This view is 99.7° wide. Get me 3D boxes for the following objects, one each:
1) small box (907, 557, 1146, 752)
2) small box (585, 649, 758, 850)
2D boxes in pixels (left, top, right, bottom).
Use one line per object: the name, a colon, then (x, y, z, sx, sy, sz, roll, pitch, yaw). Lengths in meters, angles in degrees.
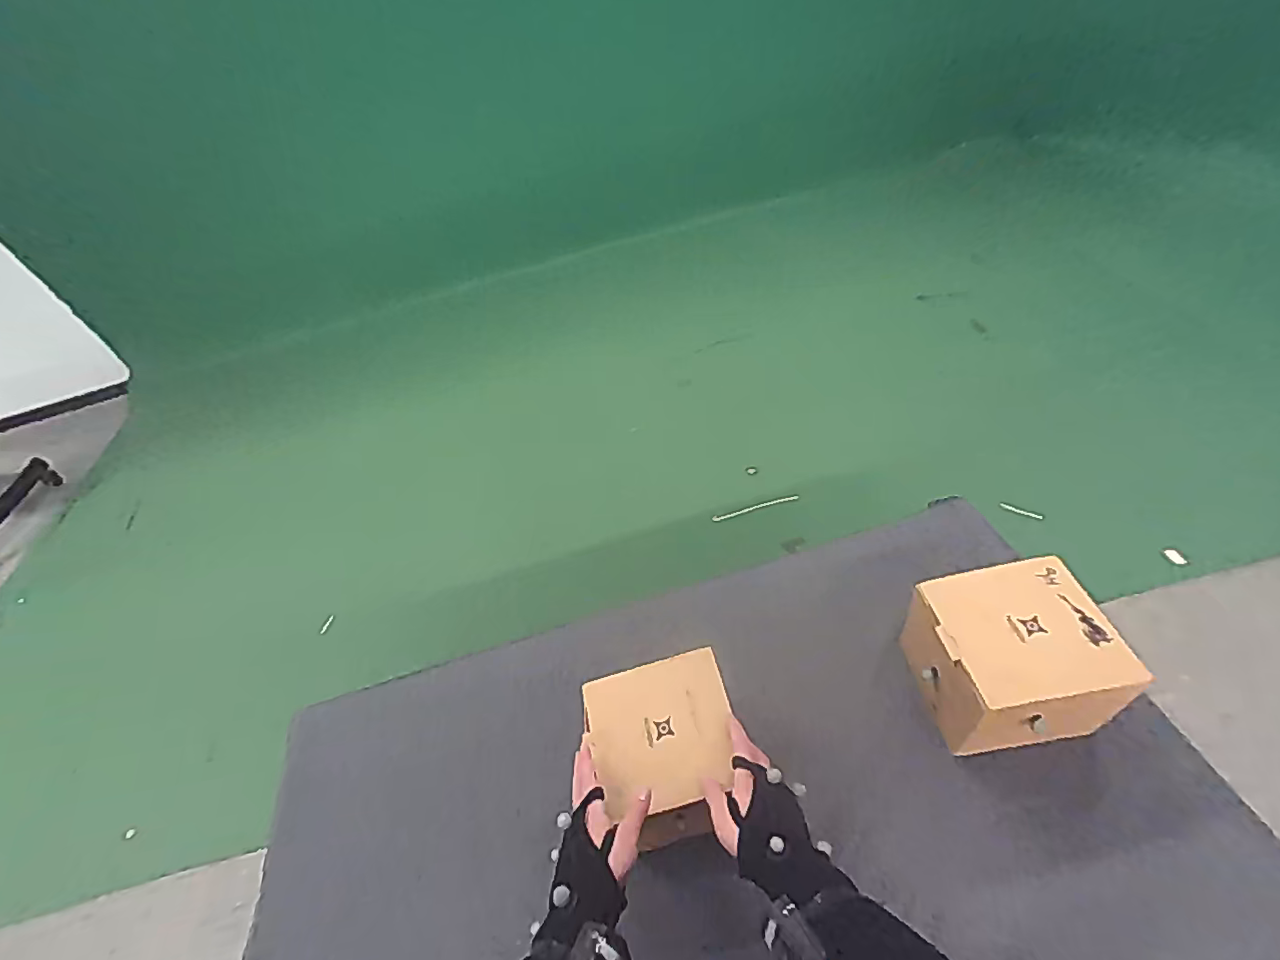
small box: (0.460, 0.226, 0.685, 0.179, 0.176, 0.168, -13, 46, 5)
small box: (0.043, 0.349, 0.695, 0.179, 0.176, 0.168, -16, 47, -2)
